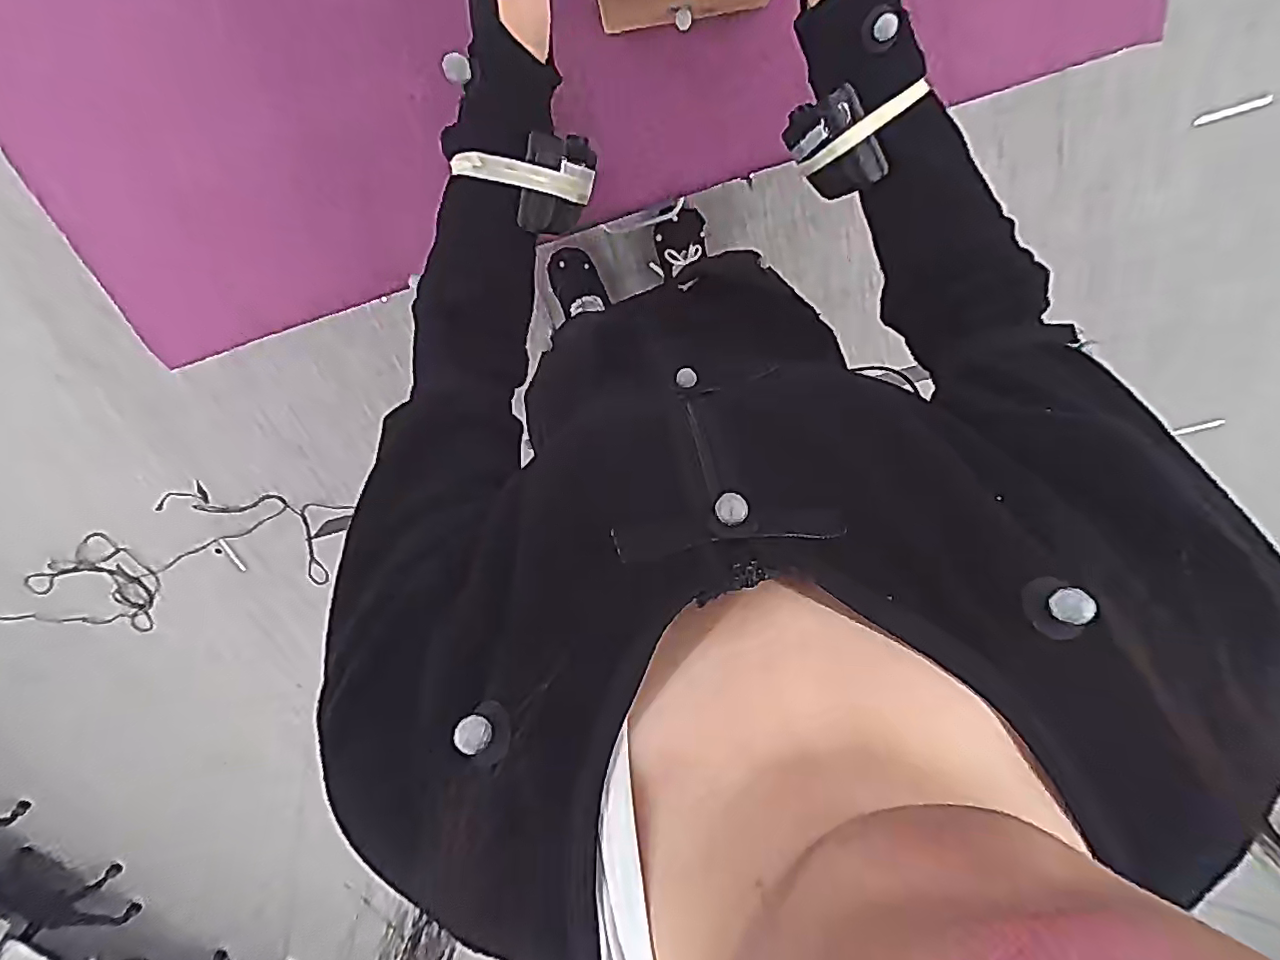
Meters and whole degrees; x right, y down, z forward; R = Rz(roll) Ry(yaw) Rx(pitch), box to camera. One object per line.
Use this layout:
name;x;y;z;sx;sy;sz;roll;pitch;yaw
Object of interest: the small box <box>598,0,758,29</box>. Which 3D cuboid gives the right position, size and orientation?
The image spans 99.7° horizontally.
small box;0.031;-0.504;0.434;0.168;0.176;0.179;-6;118;4
